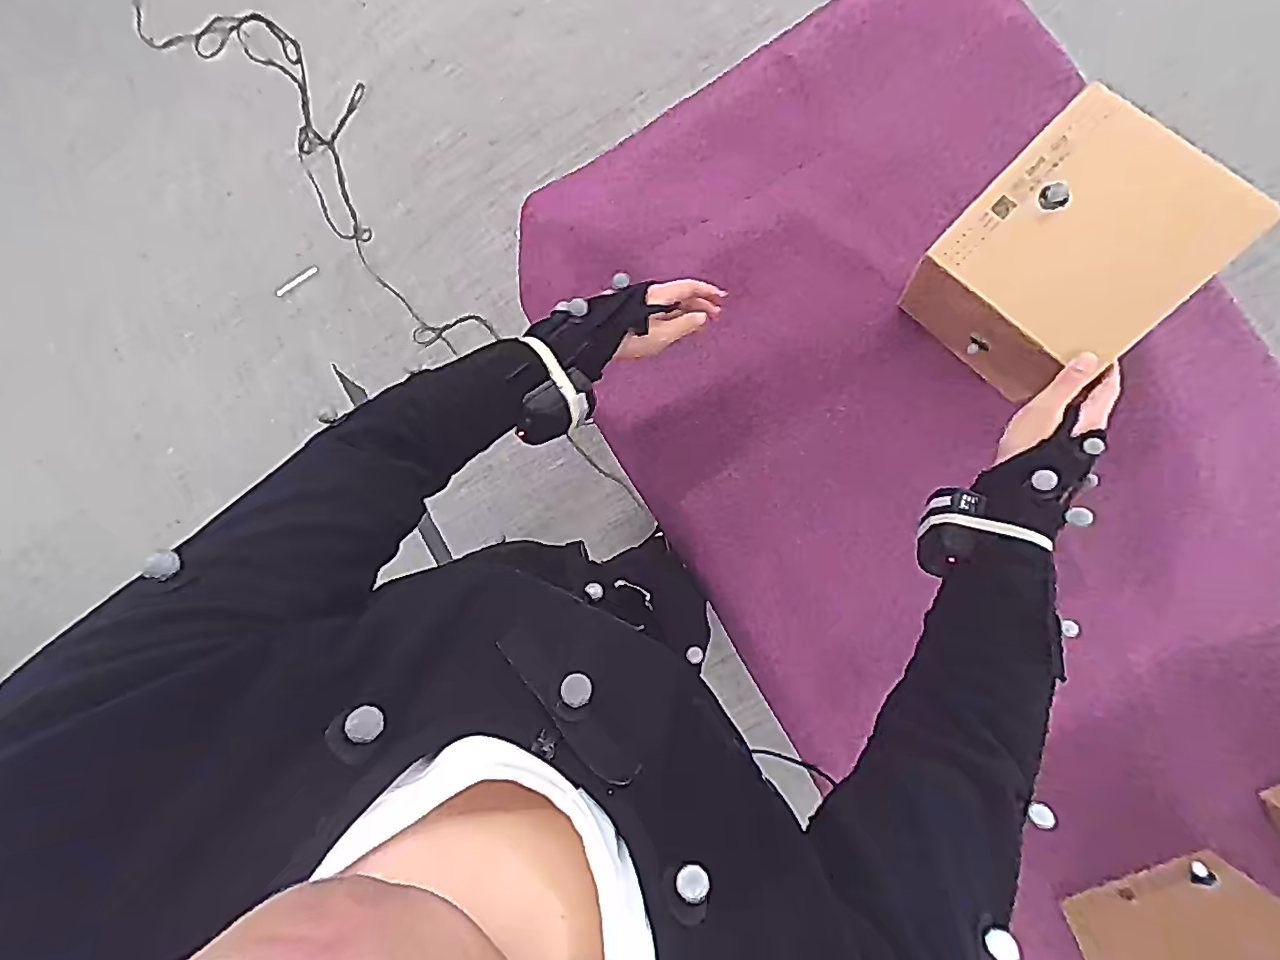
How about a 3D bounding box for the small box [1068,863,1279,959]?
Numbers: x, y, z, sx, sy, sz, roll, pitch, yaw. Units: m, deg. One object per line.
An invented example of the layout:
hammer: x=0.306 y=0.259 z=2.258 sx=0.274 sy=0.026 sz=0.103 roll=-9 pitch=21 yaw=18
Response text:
small box: x=0.551 y=0.495 z=0.492 sx=0.168 sy=0.176 sz=0.179 roll=-24 pitch=87 yaw=5
